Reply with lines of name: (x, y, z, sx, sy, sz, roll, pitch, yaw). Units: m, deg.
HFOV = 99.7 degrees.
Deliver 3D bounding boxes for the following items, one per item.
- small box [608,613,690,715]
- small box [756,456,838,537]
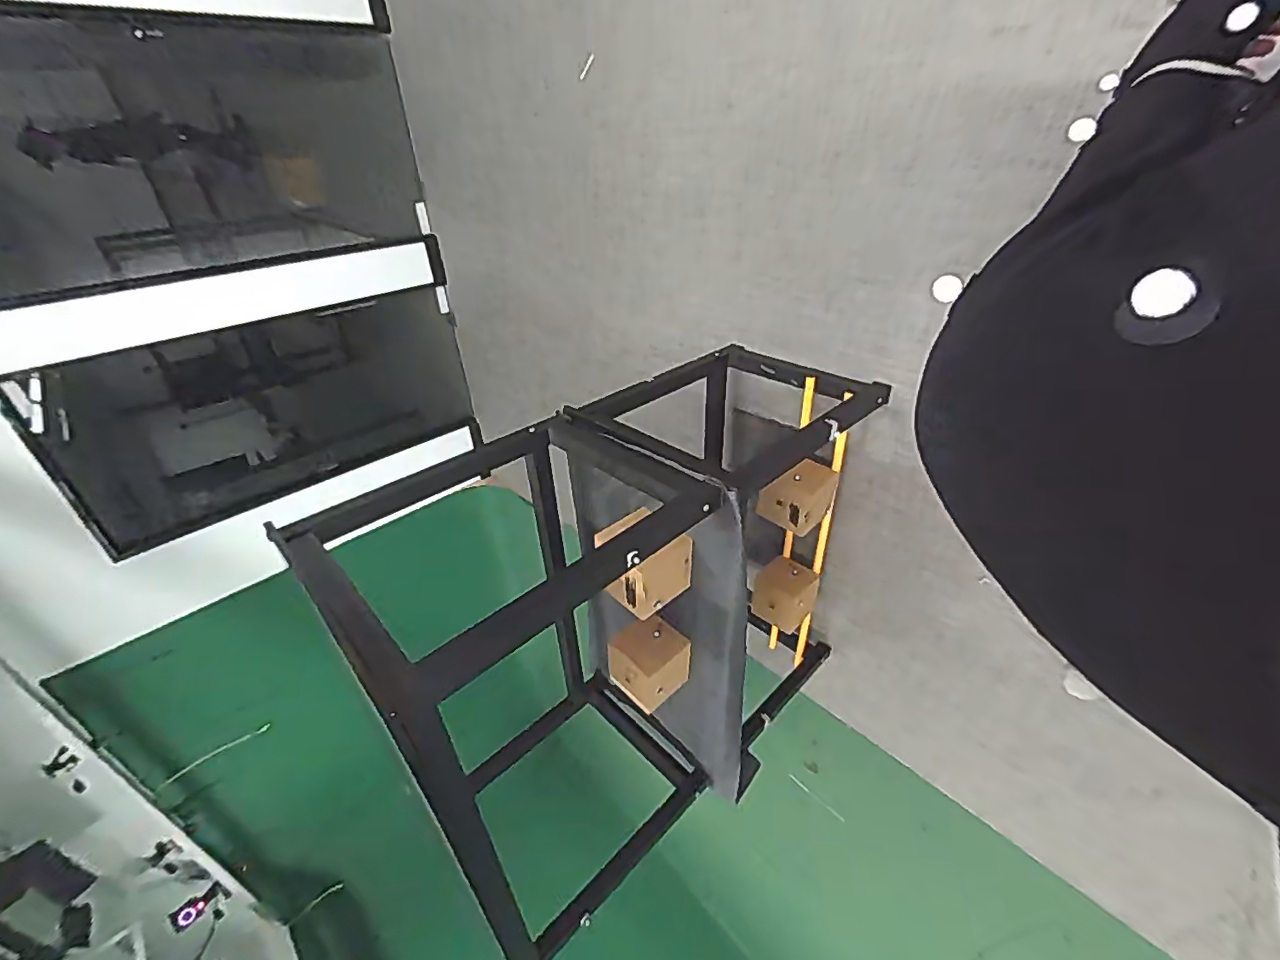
small box: (0.027, 0.518, 1.537, 0.168, 0.176, 0.179, 31, 135, 36)
small box: (0.496, 0.044, 1.706, 0.179, 0.176, 0.168, 31, 135, 36)
